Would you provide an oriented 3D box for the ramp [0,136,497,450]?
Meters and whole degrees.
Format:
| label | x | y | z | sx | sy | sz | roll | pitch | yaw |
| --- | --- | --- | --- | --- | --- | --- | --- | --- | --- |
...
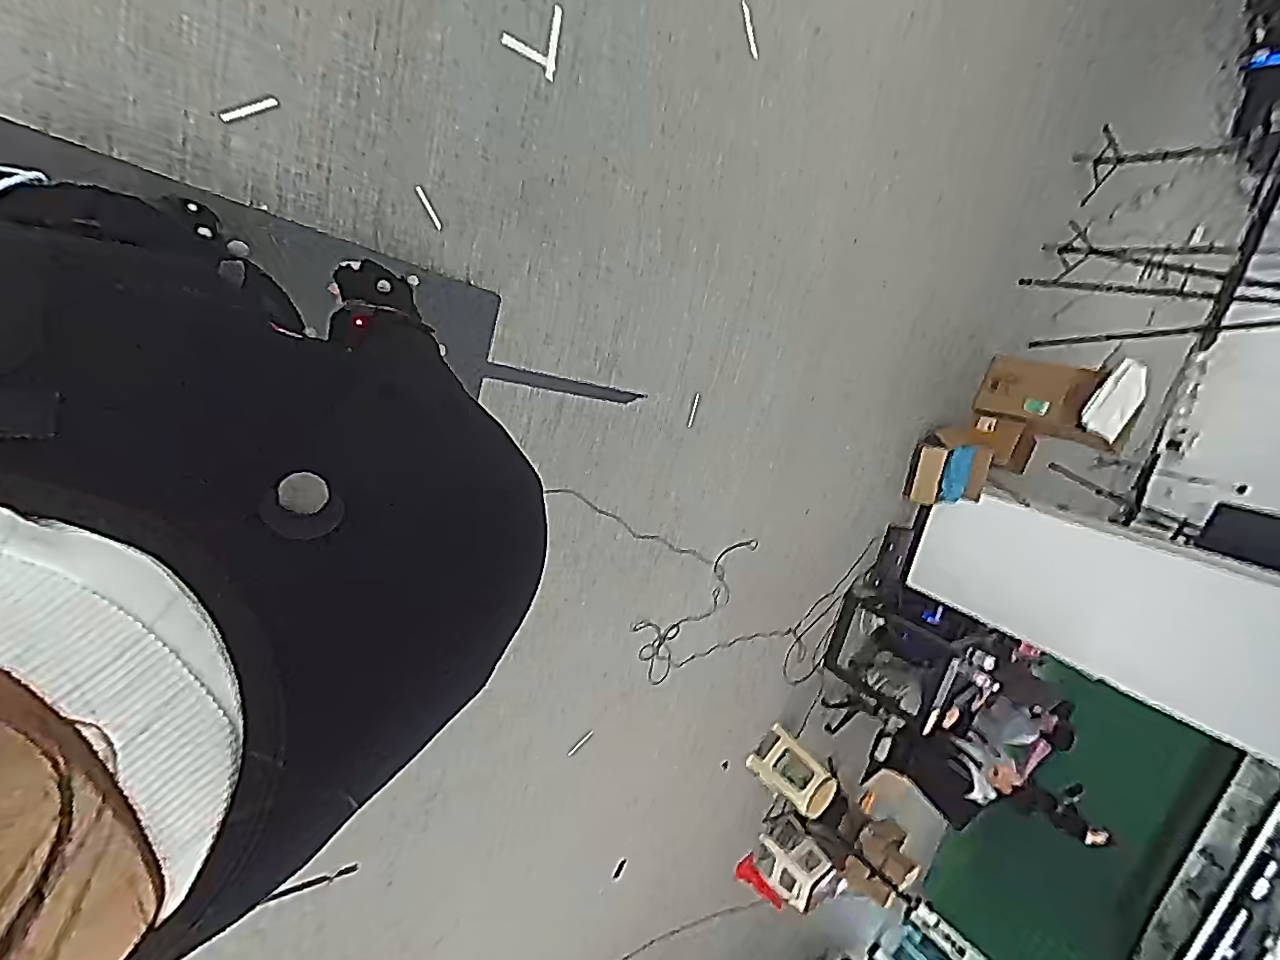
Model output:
| label | x | y | z | sx | sy | sz | roll | pitch | yaw |
| --- | --- | --- | --- | --- | --- | --- | --- | --- | --- |
| ramp | -0.799 | -0.331 | 1.286 | 0.991 | 0.206 | 0.509 | 2 | 105 | -40 |
